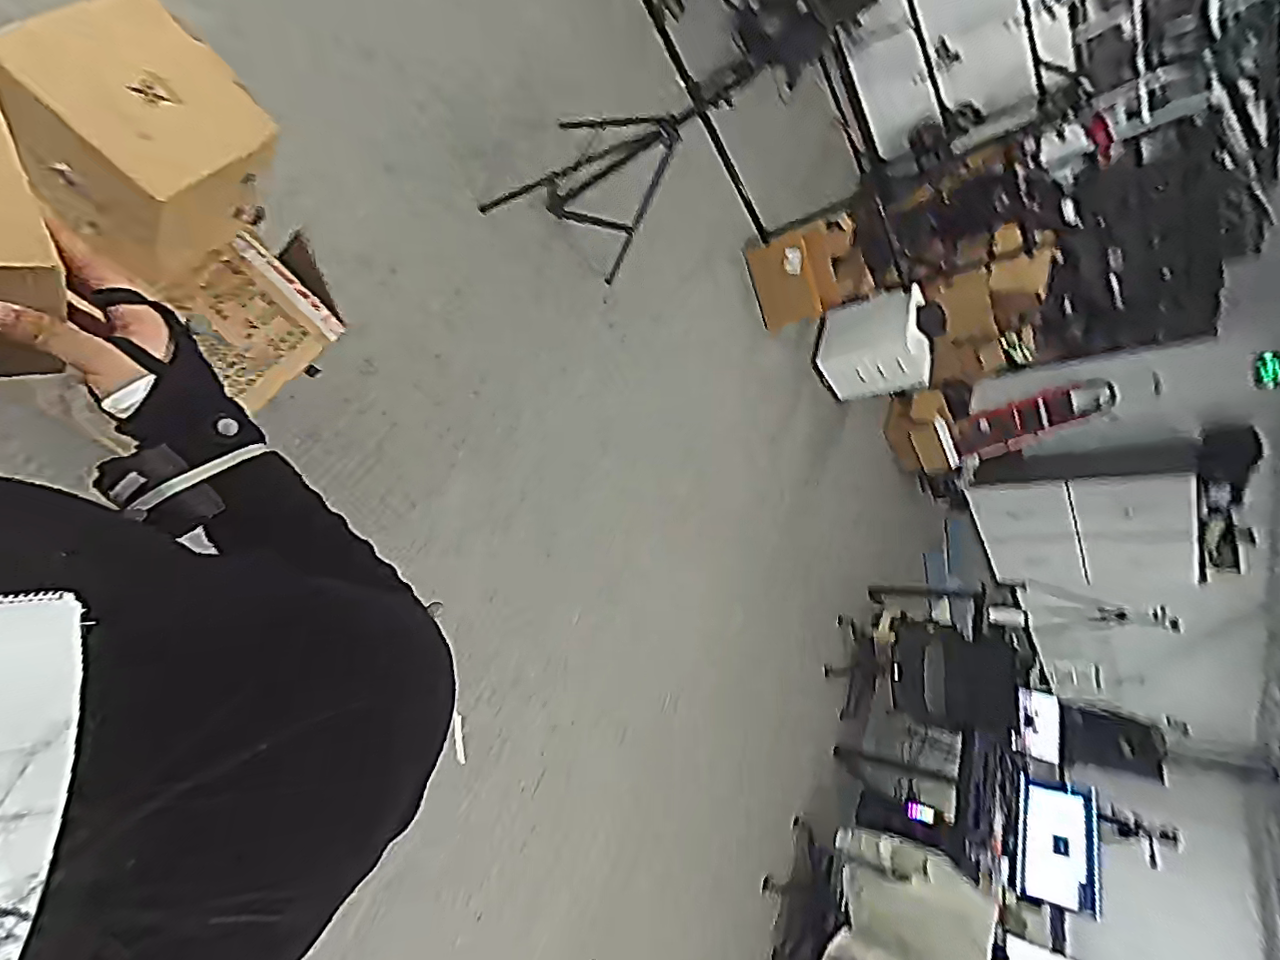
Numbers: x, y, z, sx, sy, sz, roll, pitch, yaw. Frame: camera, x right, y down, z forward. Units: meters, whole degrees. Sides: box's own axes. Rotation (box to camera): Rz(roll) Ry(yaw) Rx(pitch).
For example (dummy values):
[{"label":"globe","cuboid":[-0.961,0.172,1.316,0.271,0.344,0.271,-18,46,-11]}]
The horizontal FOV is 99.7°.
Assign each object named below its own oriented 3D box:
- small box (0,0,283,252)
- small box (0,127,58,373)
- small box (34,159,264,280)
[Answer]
[{"label":"small box","cuboid":[-0.567,-0.404,0.626,0.168,0.176,0.179,48,56,-30]},{"label":"small box","cuboid":[-0.464,-0.164,0.291,0.168,0.176,0.179,-24,96,-47]},{"label":"small box","cuboid":[-0.676,-0.413,0.748,0.168,0.176,0.179,49,55,-30]}]
